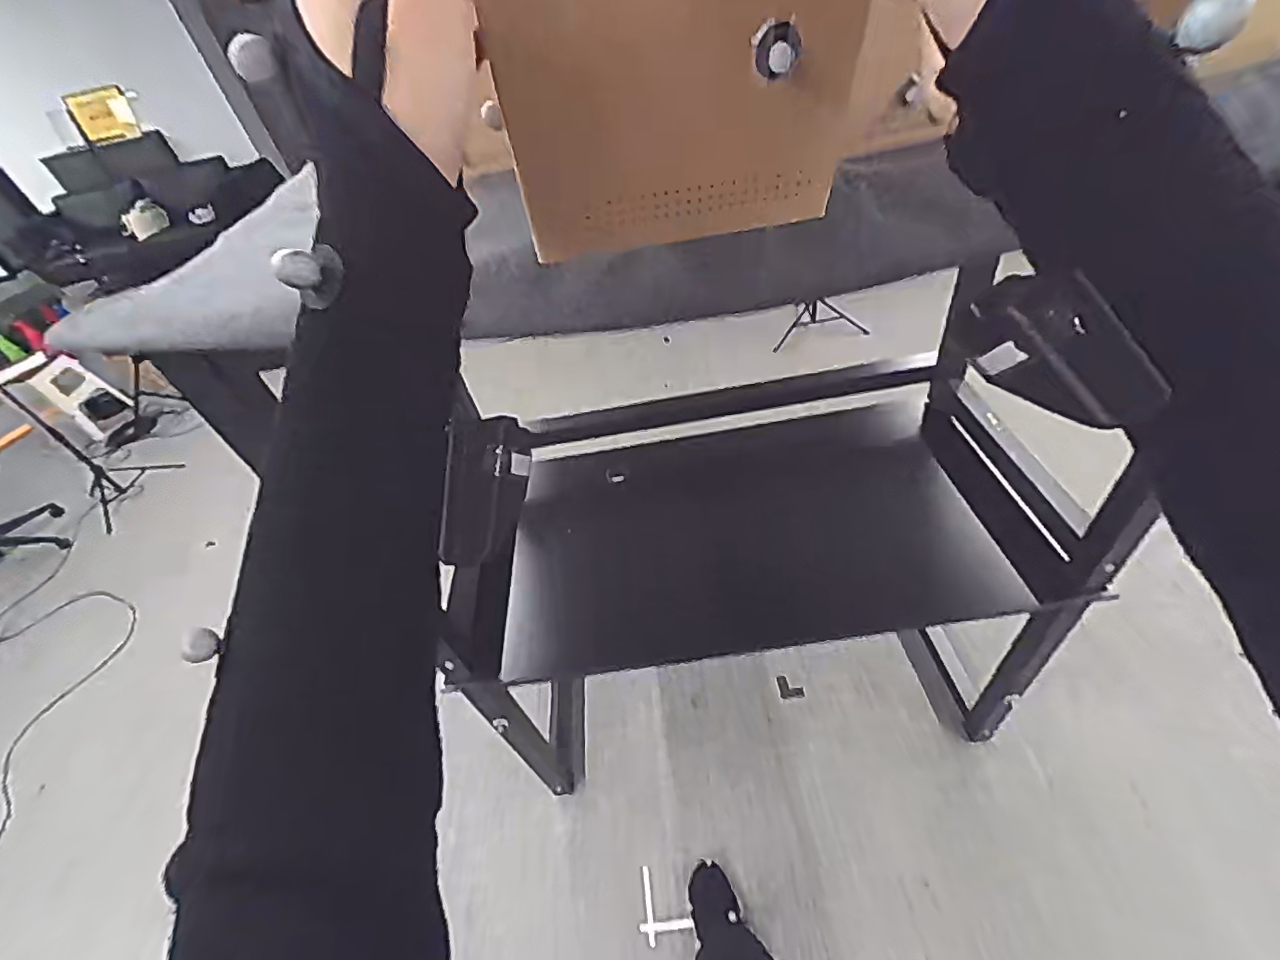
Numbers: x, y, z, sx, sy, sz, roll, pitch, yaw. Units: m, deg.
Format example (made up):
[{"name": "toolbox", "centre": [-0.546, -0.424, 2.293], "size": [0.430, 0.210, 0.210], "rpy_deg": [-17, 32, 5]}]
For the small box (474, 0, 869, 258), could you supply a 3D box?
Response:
[{"name": "small box", "centre": [0.008, -0.249, 0.293], "size": [0.179, 0.176, 0.168], "rpy_deg": [-11, 56, -3]}]

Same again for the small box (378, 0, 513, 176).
[{"name": "small box", "centre": [-0.193, -0.504, 0.686], "size": [0.168, 0.176, 0.179], "rpy_deg": [-9, 43, 4]}]

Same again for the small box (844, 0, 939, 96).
[{"name": "small box", "centre": [0.247, -0.582, 0.660], "size": [0.168, 0.176, 0.179], "rpy_deg": [-9, 43, 5]}]
